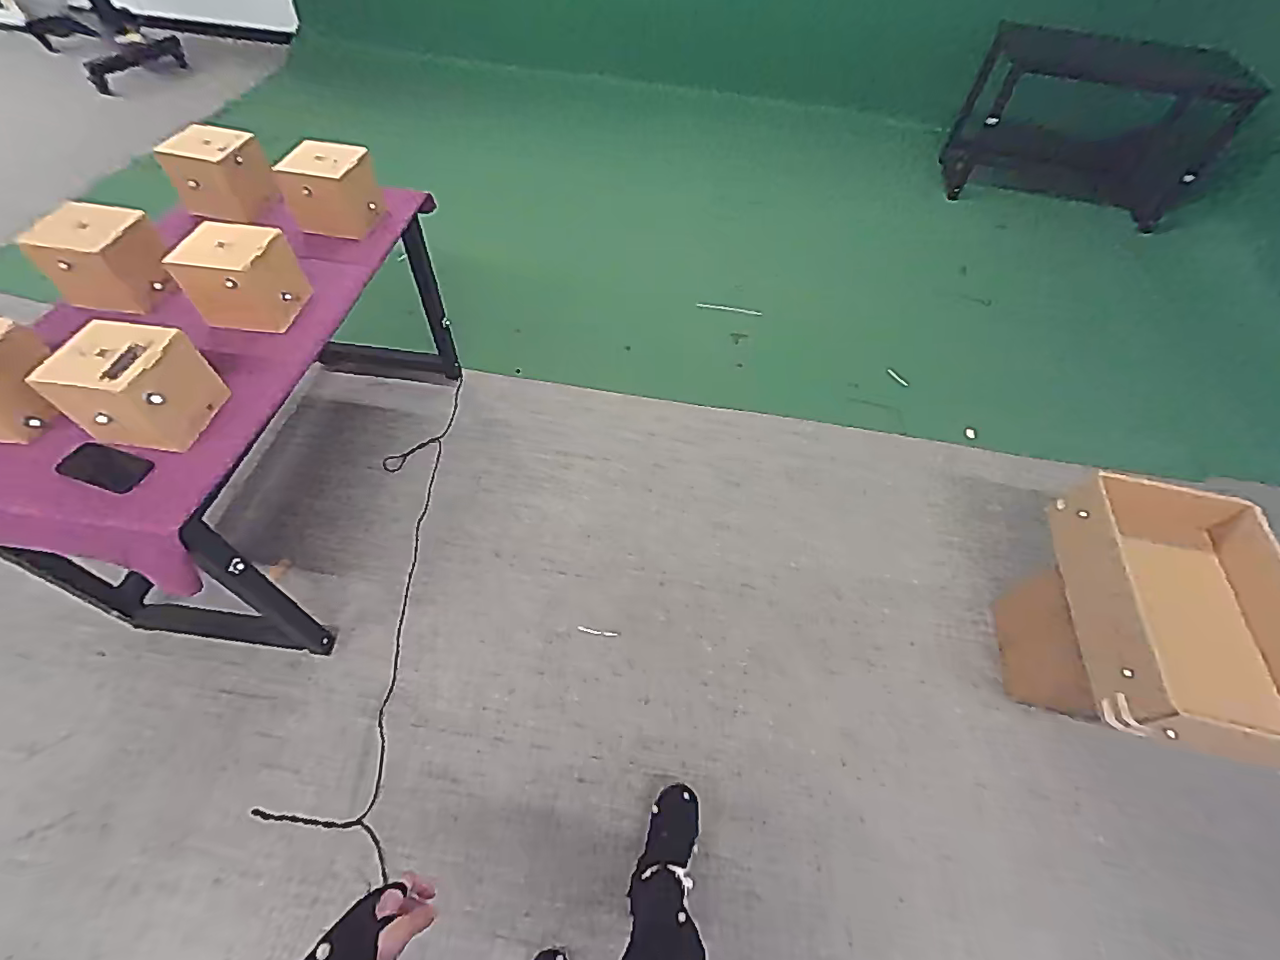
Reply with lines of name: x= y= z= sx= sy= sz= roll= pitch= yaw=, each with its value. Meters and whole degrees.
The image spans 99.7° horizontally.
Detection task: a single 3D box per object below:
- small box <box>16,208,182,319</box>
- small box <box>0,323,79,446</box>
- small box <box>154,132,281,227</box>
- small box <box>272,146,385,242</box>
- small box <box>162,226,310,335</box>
small box: x=-1.216 y=-0.492 z=1.238 sx=0.179 sy=0.176 sz=0.168 roll=8 pitch=55 yaw=1
small box: x=-1.235 y=-0.179 z=1.008 sx=0.179 sy=0.176 sz=0.168 roll=4 pitch=54 yaw=0
small box: x=-1.141 y=-0.818 z=1.477 sx=0.179 sy=0.176 sz=0.168 roll=10 pitch=55 yaw=3
small box: x=-0.828 y=-0.768 z=1.458 sx=0.179 sy=0.176 sz=0.168 roll=10 pitch=56 yaw=3
small box: x=-0.901 y=-0.448 z=1.227 sx=0.179 sy=0.176 sz=0.168 roll=6 pitch=54 yaw=1
